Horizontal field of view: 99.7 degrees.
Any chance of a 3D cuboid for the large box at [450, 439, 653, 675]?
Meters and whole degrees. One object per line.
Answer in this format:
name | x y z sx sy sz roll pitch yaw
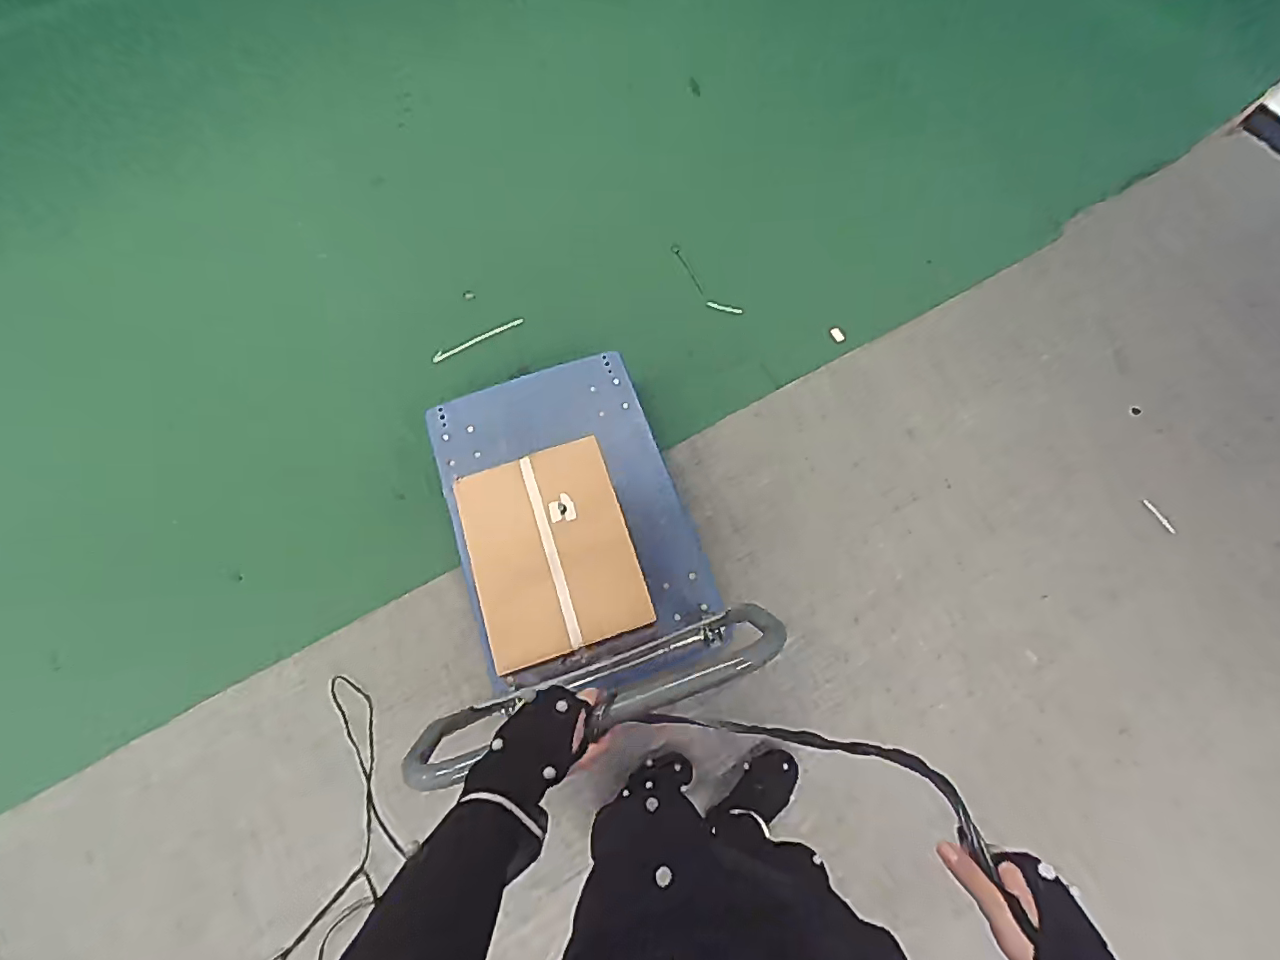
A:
large box | -0.180 0.183 1.204 0.320 0.320 0.408 -18 71 -5
